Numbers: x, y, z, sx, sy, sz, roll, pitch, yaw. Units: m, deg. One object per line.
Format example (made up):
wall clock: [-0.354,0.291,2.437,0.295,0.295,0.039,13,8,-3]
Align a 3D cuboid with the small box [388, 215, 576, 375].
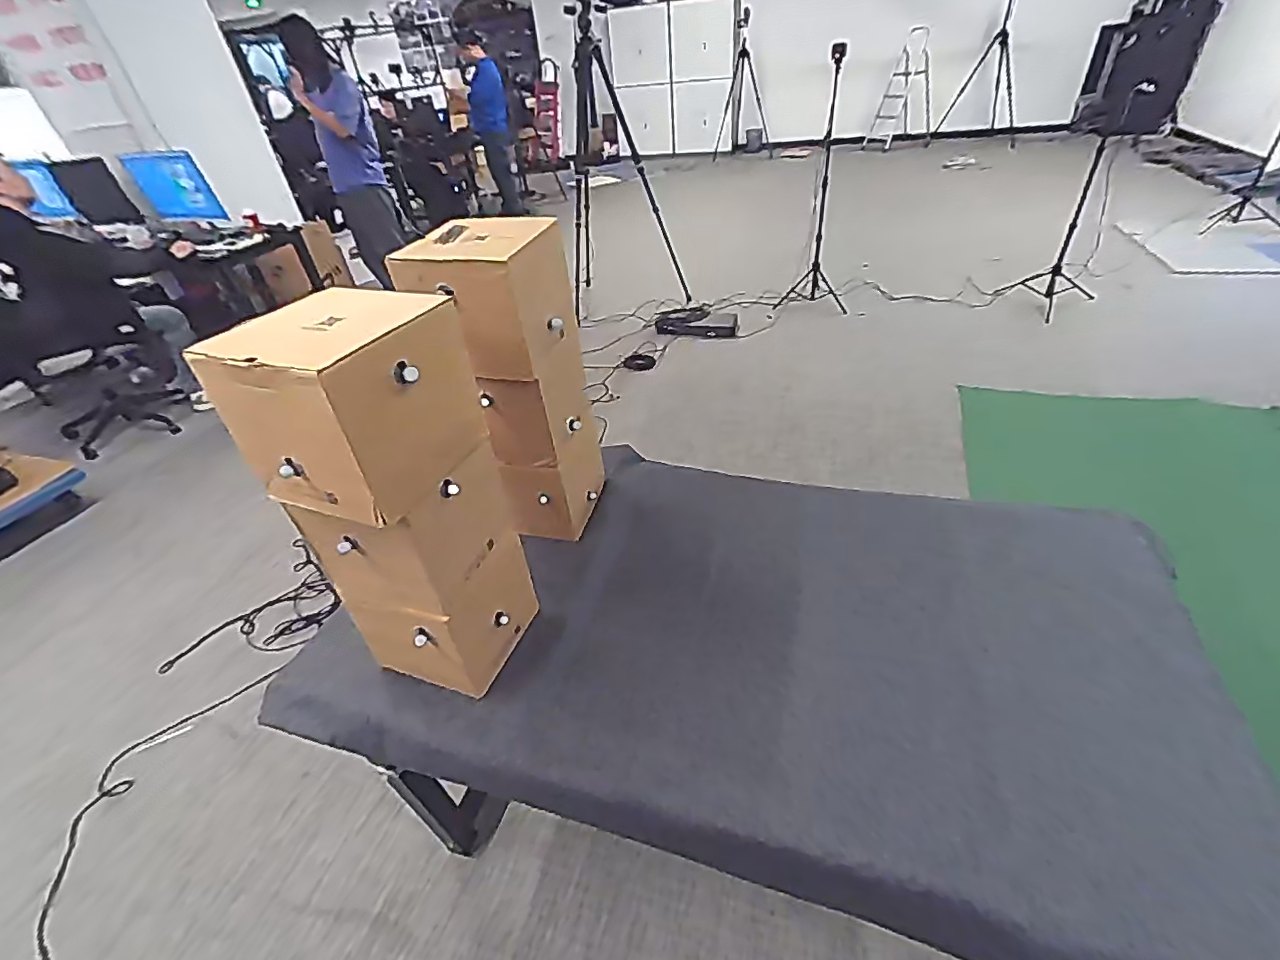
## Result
small box: [-0.209,-0.262,0.767,0.179,0.176,0.168,8,43,15]

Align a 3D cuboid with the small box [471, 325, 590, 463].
small box: [-0.195,-0.144,0.880,0.179,0.176,0.168,6,43,13]

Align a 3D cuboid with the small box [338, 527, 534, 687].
small box: [-0.271,0.165,0.766,0.179,0.176,0.168,10,39,19]

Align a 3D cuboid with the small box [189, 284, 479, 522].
small box: [-0.287,-0.085,0.556,0.168,0.176,0.179,11,41,19]

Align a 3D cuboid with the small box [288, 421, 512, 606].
small box: [-0.285,0.034,0.670,0.179,0.176,0.168,7,39,16]
